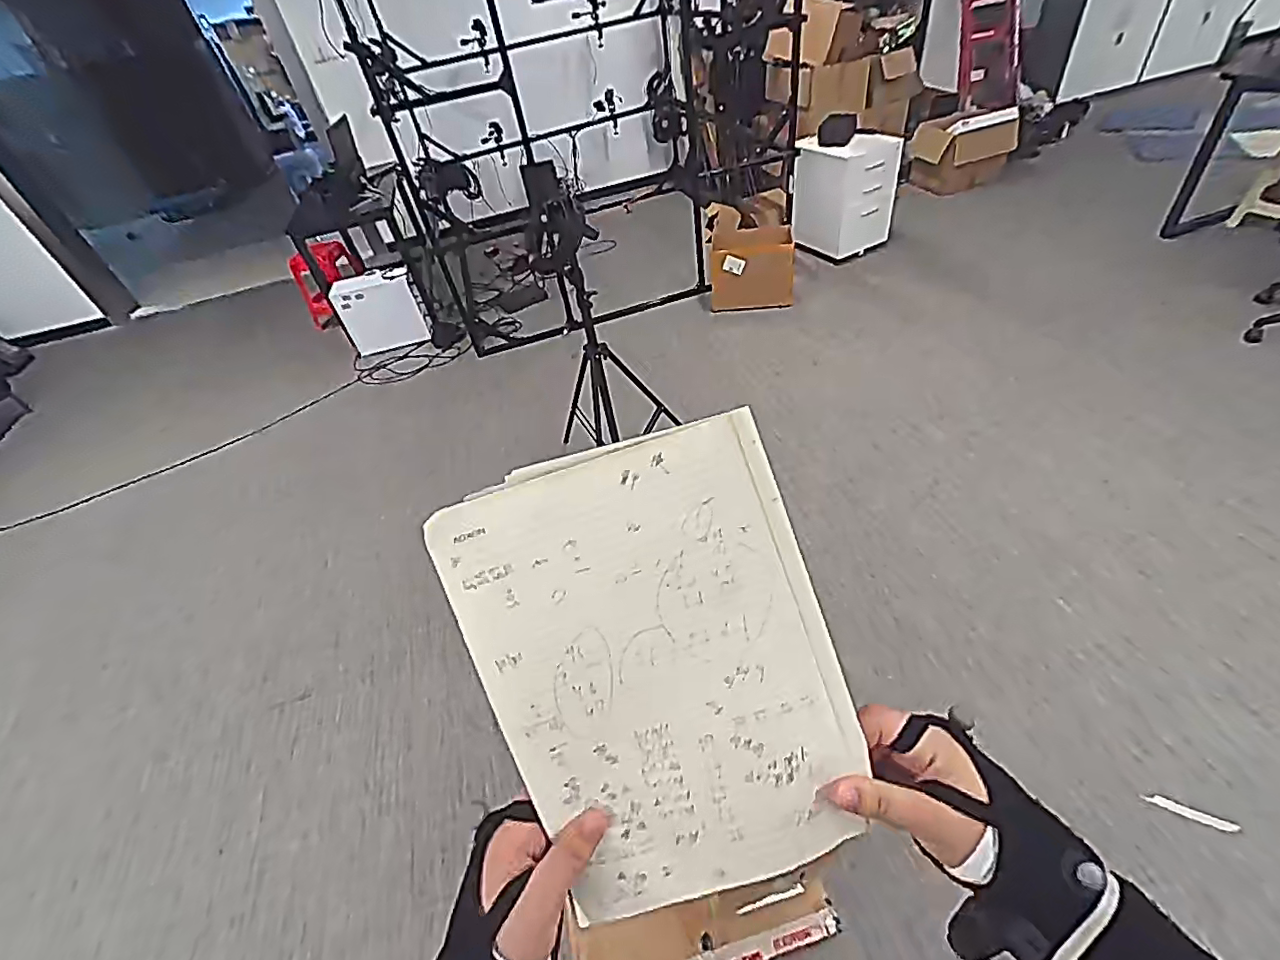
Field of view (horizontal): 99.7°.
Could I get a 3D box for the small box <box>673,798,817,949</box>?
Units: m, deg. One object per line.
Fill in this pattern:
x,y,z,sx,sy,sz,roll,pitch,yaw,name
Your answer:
0.160,0.549,0.794,0.179,0.176,0.168,-18,45,-9,small box

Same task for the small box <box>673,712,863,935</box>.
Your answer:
0.146,0.431,0.680,0.168,0.176,0.179,-15,45,-7,small box
